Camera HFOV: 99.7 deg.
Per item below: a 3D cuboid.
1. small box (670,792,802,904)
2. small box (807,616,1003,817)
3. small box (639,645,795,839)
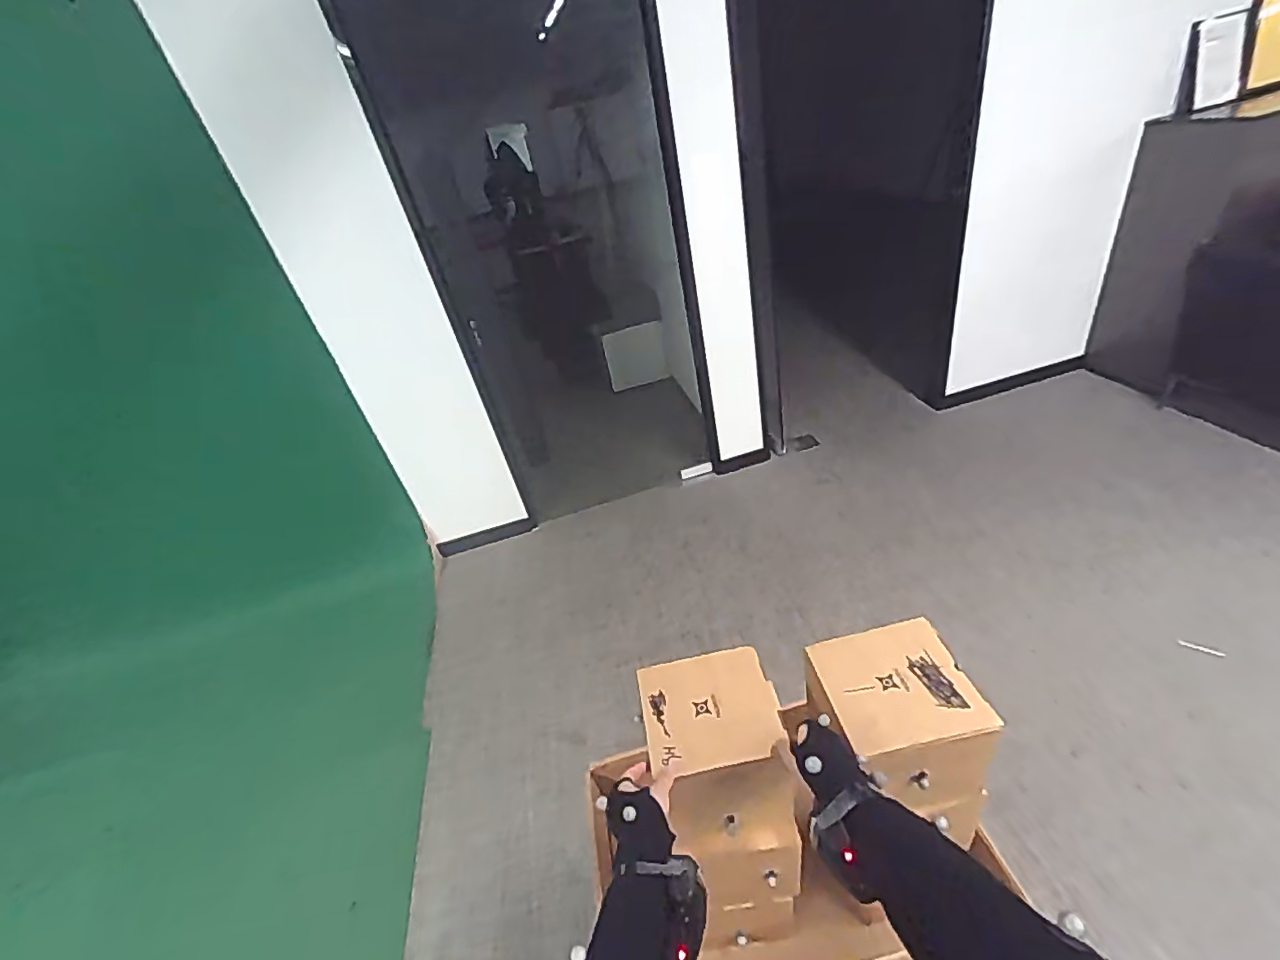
[{"bbox_3d":[0.134,0.506,0.820,0.179,0.176,0.168,-9,32,2],"label":"small box"},{"bbox_3d":[0.338,0.316,0.726,0.179,0.176,0.168,-14,34,1],"label":"small box"},{"bbox_3d":[0.101,0.361,0.750,0.179,0.176,0.168,-10,32,-2],"label":"small box"}]
